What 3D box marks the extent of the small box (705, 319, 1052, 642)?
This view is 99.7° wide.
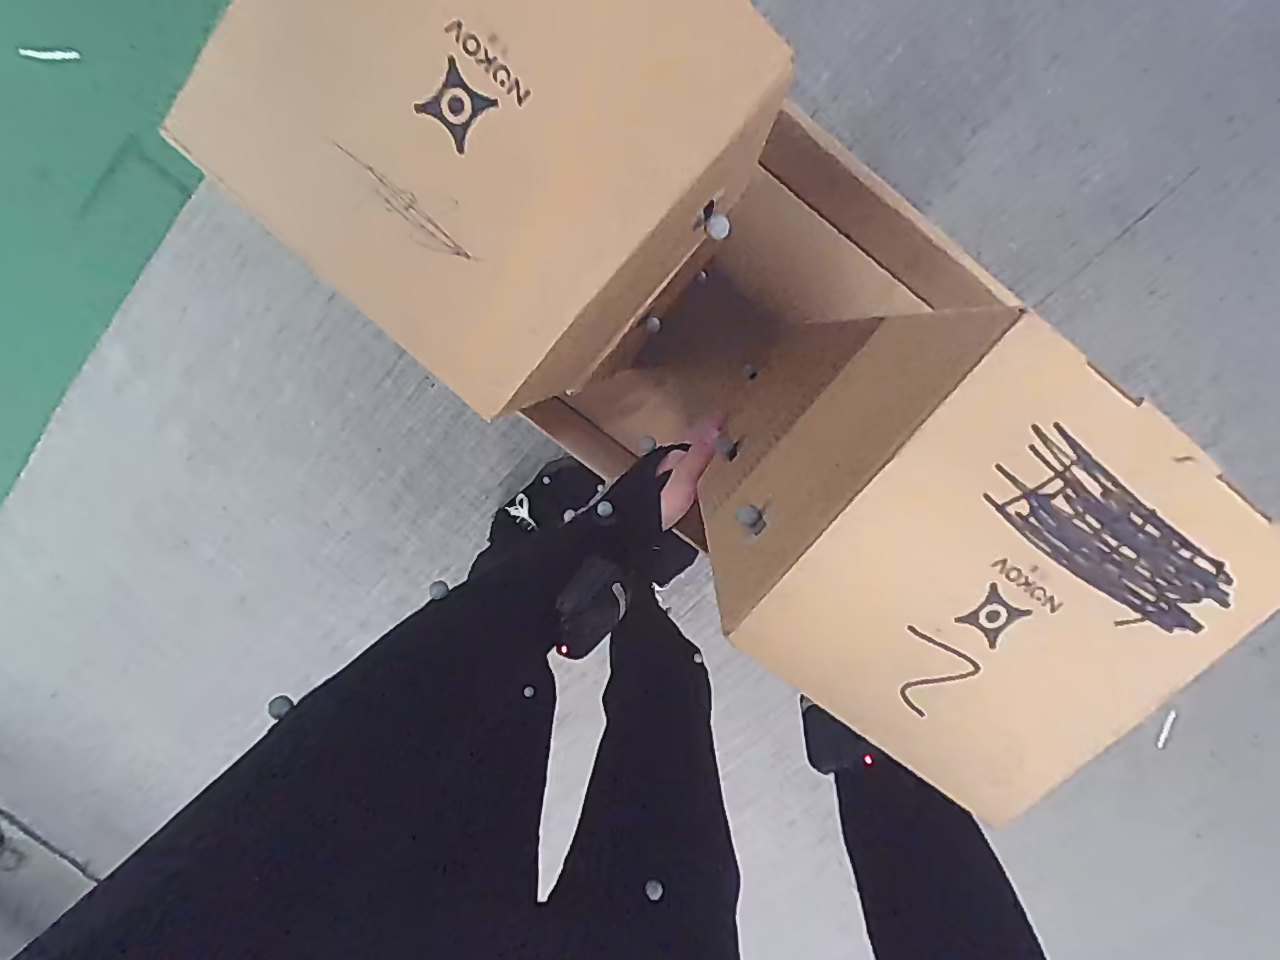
[{"bbox_3d":[0.168,-0.011,0.451,0.168,0.176,0.179,37,103,-7],"label":"small box"}]

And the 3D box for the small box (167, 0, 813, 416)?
[{"bbox_3d":[-0.052,-0.158,0.266,0.168,0.176,0.179,43,103,-6],"label":"small box"}]

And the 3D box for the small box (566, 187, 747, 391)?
[{"bbox_3d":[-0.040,-0.192,0.425,0.168,0.176,0.179,42,102,-6],"label":"small box"}]
